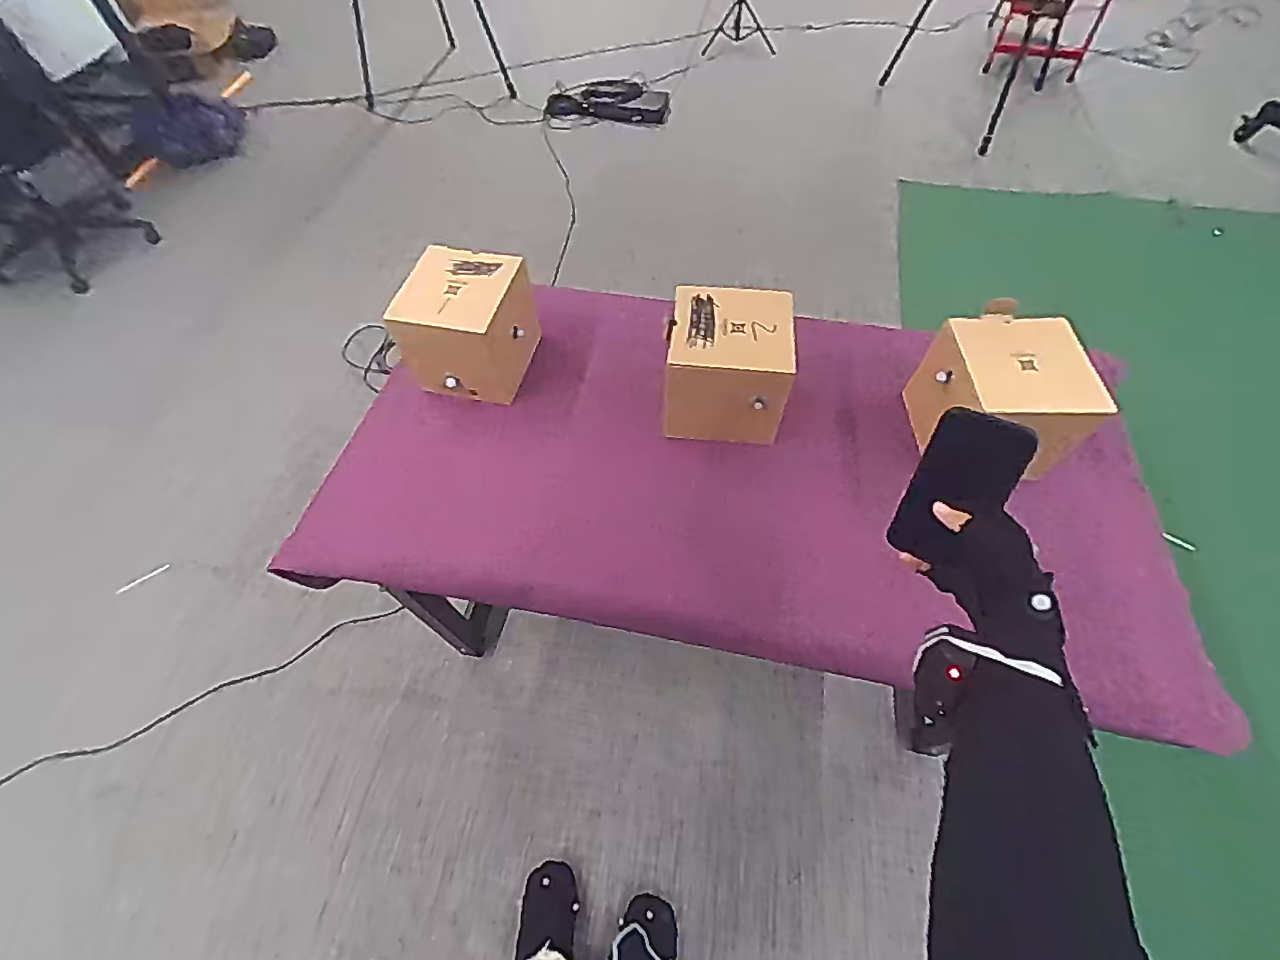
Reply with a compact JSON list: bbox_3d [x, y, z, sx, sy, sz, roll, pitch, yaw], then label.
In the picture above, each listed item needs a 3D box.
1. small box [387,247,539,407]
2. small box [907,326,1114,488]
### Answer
[{"bbox_3d":[-0.276,-0.250,0.895,0.168,0.176,0.179,11,60,8],"label":"small box"},{"bbox_3d":[0.517,-0.101,0.789,0.168,0.176,0.179,1,57,2],"label":"small box"}]
